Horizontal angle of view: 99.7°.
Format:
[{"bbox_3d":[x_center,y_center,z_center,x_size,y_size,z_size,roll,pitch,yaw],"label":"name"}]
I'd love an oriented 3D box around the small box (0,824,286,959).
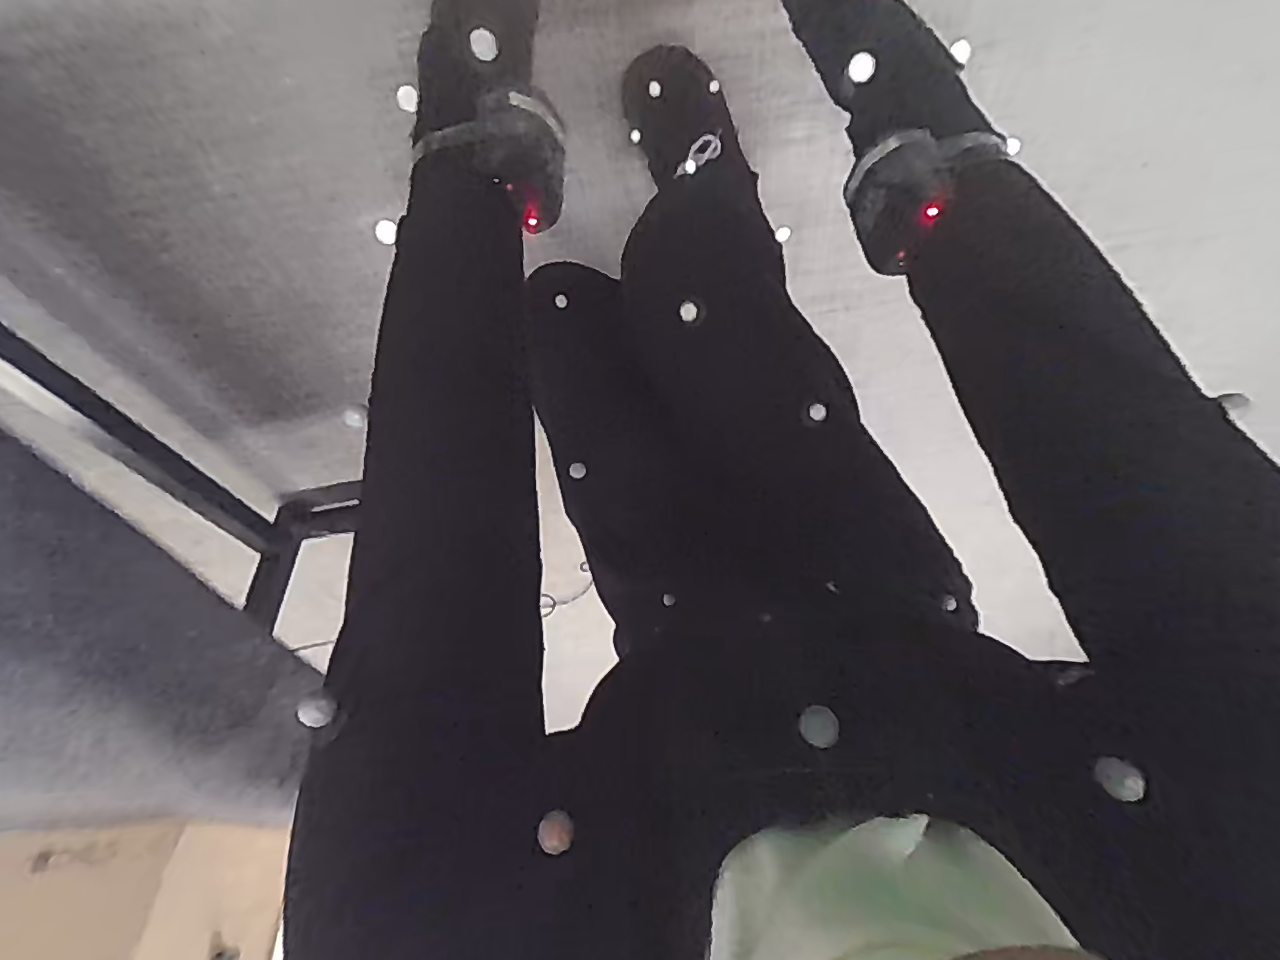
[{"bbox_3d":[-0.444,0.394,0.453,0.168,0.176,0.179,-6,143,2],"label":"small box"}]
